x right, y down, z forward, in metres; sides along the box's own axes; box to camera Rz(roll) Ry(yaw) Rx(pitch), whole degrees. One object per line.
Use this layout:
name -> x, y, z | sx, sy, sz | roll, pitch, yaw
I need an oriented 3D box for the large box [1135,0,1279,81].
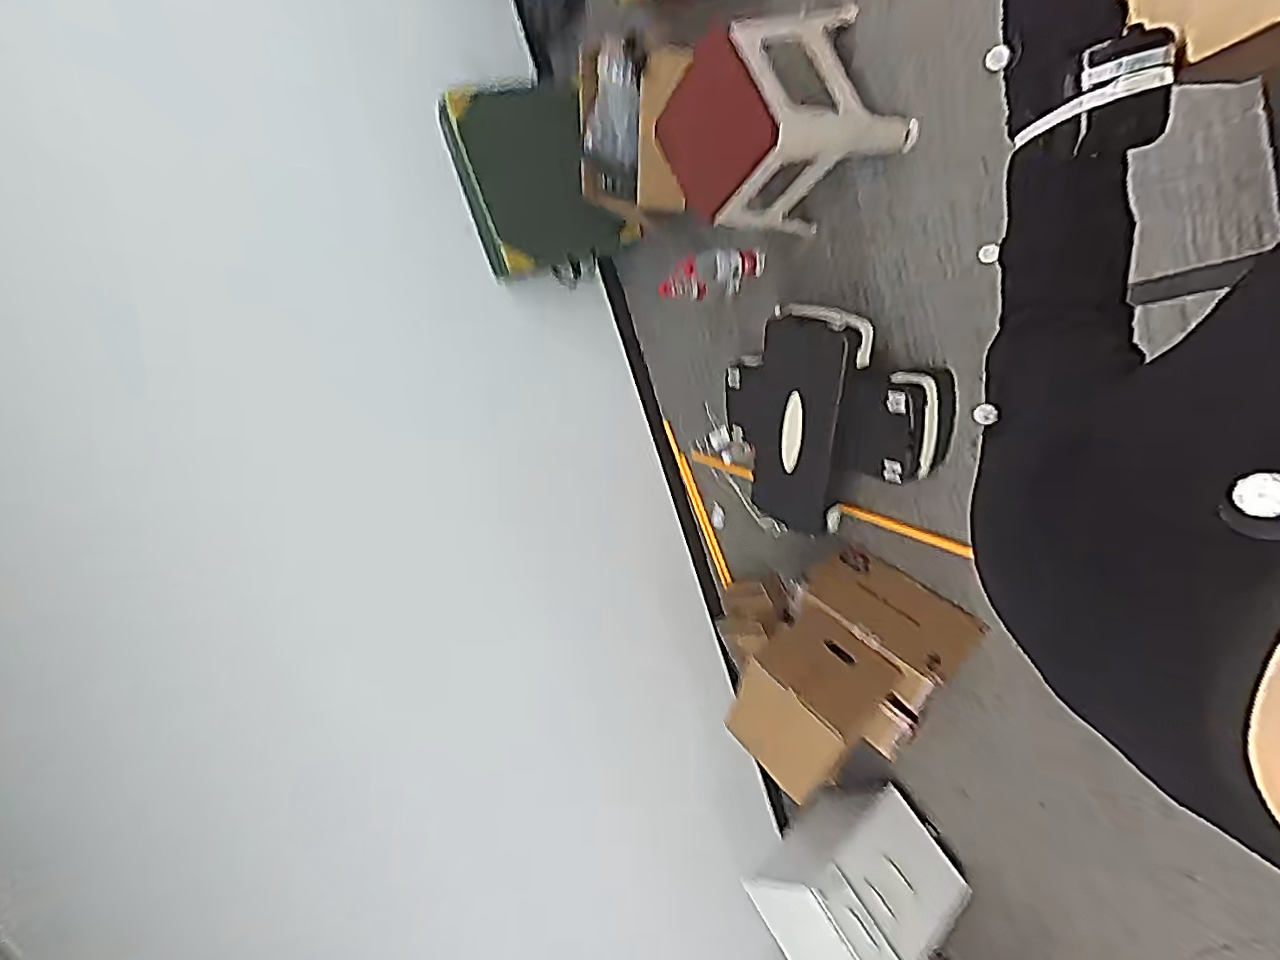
large box -> 0.508, -0.468, 0.243 | 0.408, 0.320, 0.320 | -2, 110, 57
